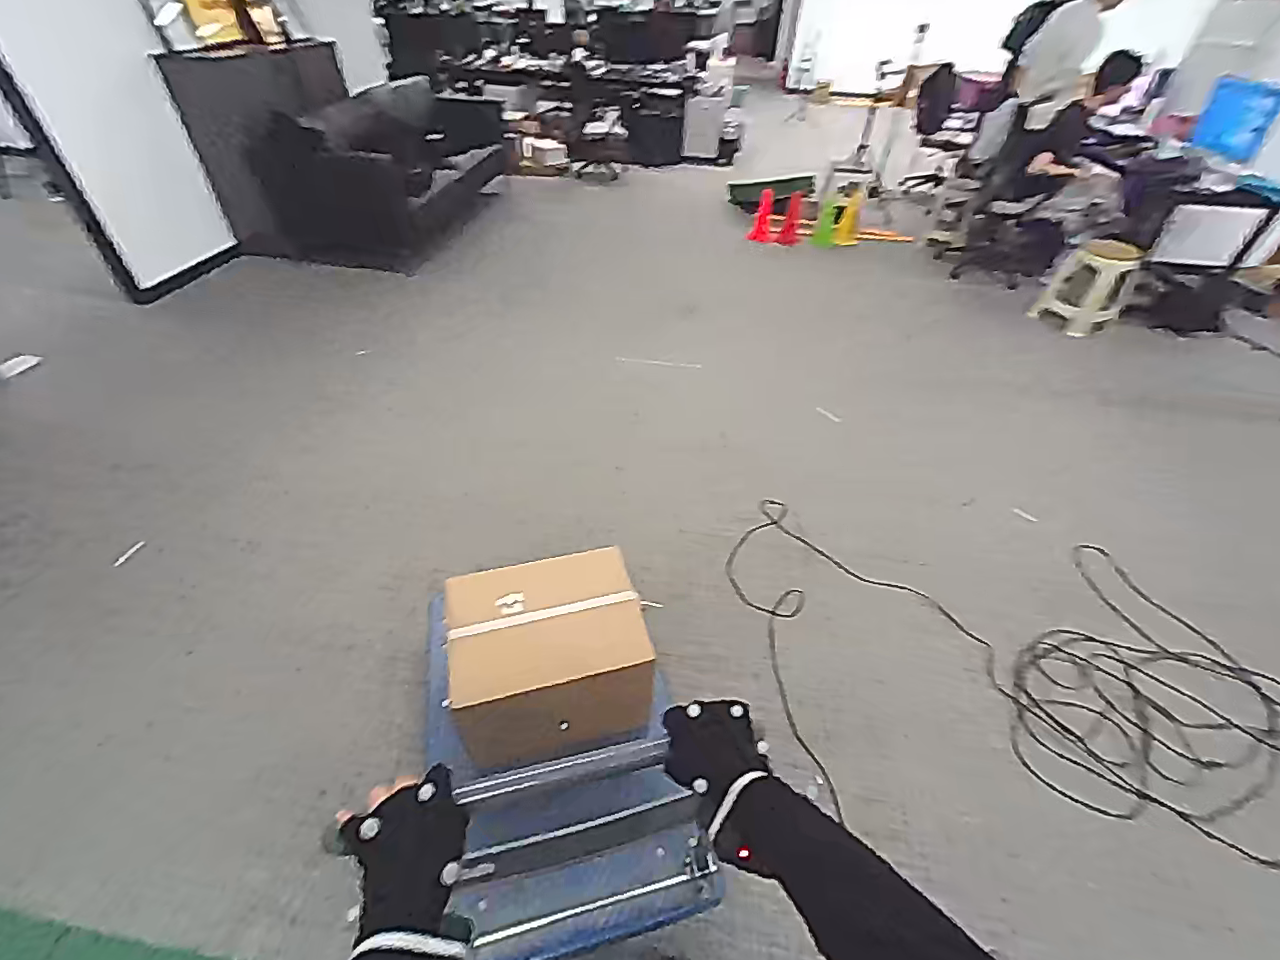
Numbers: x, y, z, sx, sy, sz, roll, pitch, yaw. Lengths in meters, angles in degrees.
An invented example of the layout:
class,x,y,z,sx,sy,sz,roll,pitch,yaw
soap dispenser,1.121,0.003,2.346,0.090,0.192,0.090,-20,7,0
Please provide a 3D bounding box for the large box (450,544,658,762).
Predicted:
class,x,y,z,sx,sy,sz,roll,pitch,yaw
large box,-0.198,0.398,1.262,0.408,0.320,0.320,-10,44,-13
